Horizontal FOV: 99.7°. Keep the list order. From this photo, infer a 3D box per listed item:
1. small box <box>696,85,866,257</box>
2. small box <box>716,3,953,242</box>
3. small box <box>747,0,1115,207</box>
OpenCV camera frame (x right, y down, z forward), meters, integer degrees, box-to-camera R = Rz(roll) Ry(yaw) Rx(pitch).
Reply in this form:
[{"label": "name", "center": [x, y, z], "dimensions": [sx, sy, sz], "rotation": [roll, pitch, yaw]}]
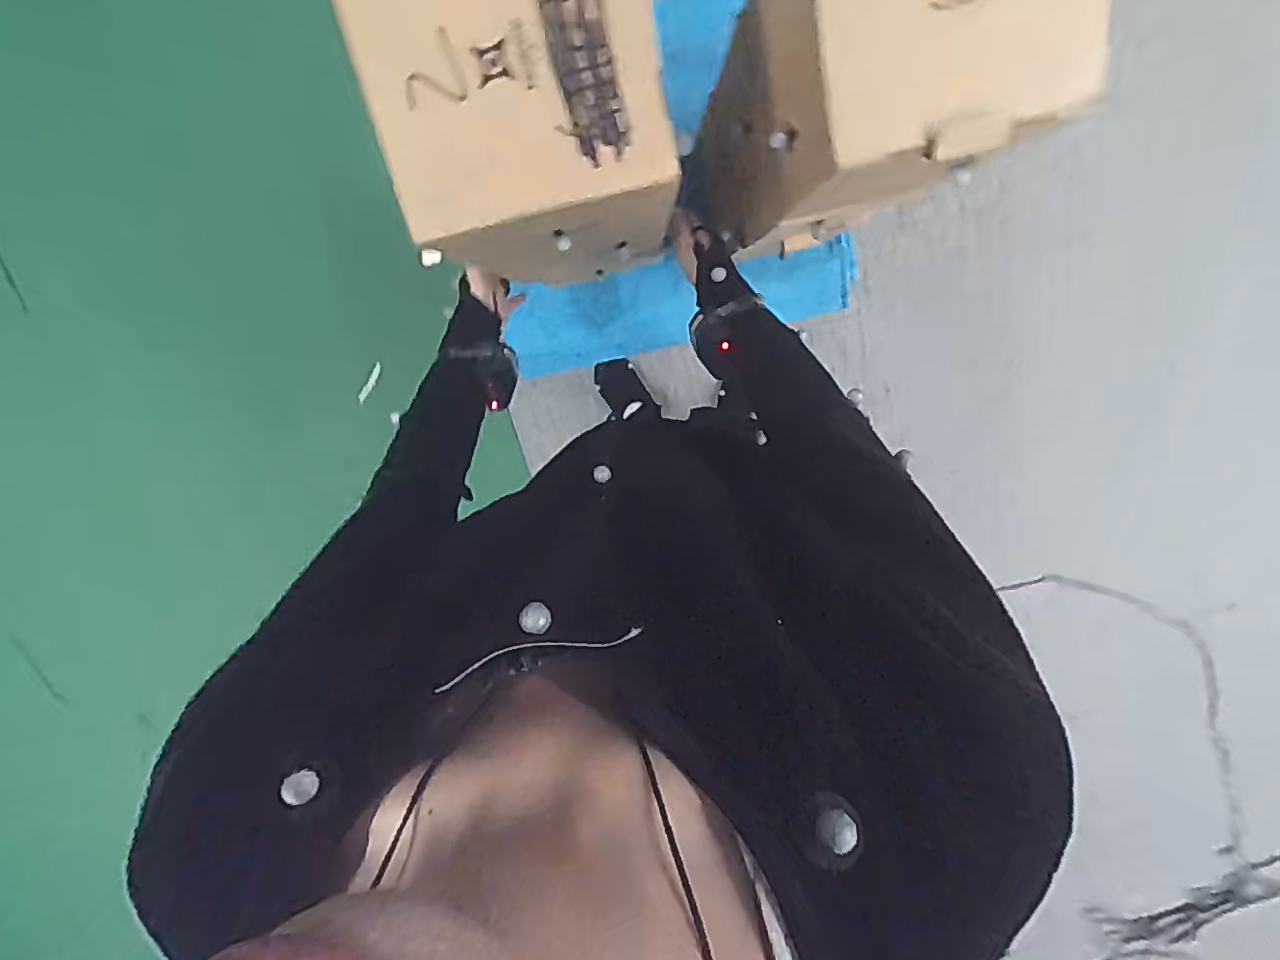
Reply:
[{"label": "small box", "center": [0.172, -0.394, 0.694], "dimensions": [0.168, 0.176, 0.179], "rotation": [-12, 107, 3]}, {"label": "small box", "center": [0.180, -0.351, 0.537], "dimensions": [0.168, 0.176, 0.179], "rotation": [-15, 104, 4]}, {"label": "small box", "center": [0.181, -0.310, 0.379], "dimensions": [0.168, 0.176, 0.179], "rotation": [-12, 104, 3]}]
